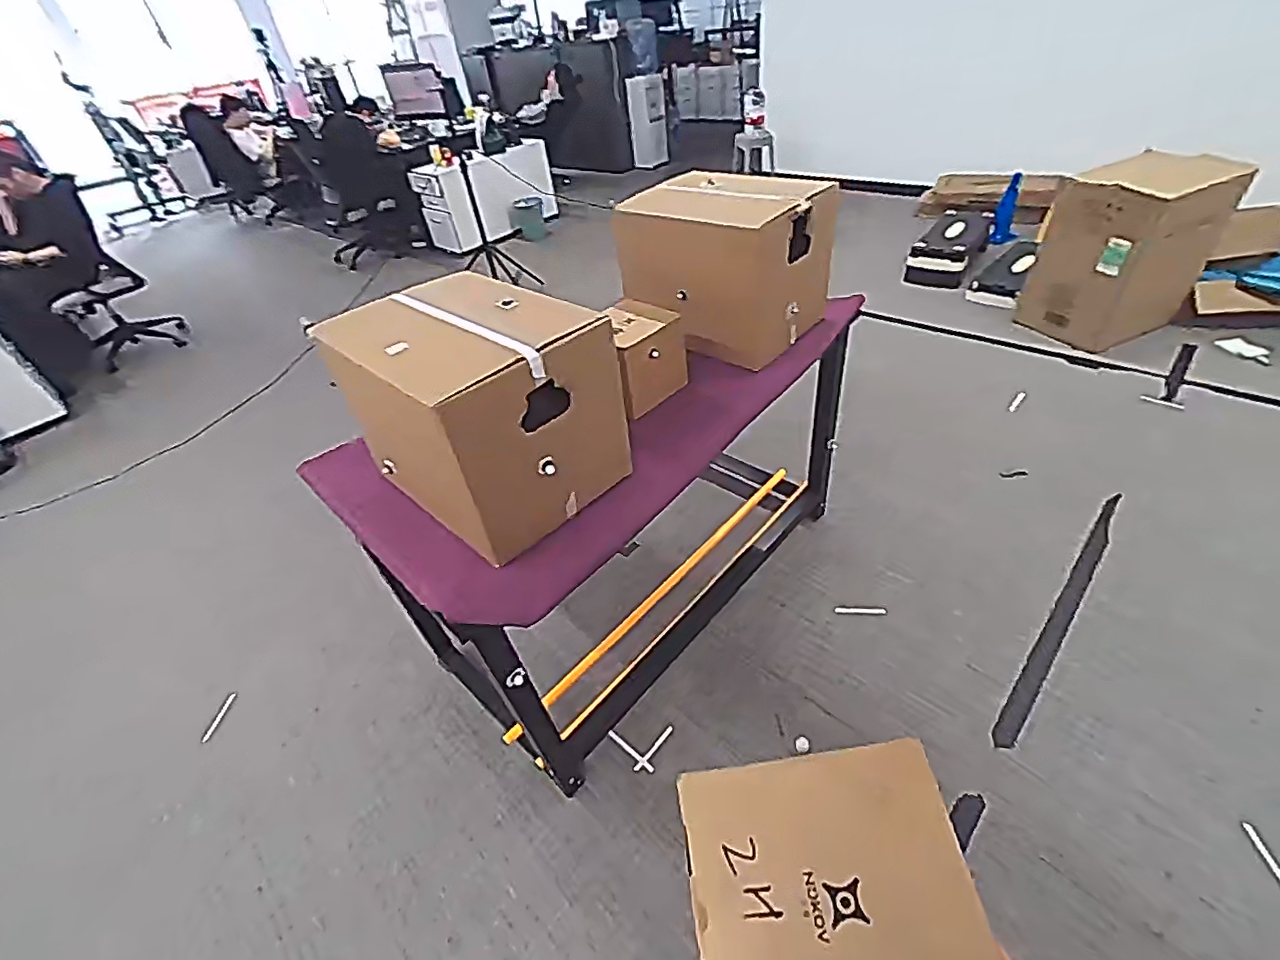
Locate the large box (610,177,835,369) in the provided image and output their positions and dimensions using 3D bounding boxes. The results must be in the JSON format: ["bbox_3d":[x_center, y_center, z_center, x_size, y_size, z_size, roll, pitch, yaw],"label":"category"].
[{"bbox_3d":[0.197,-0.505,1.287,0.408,0.320,0.320,27,52,35],"label":"large box"}]

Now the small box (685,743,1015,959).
[{"bbox_3d":[0.139,0.300,0.398,0.179,0.176,0.168,-12,57,7],"label":"small box"}]
